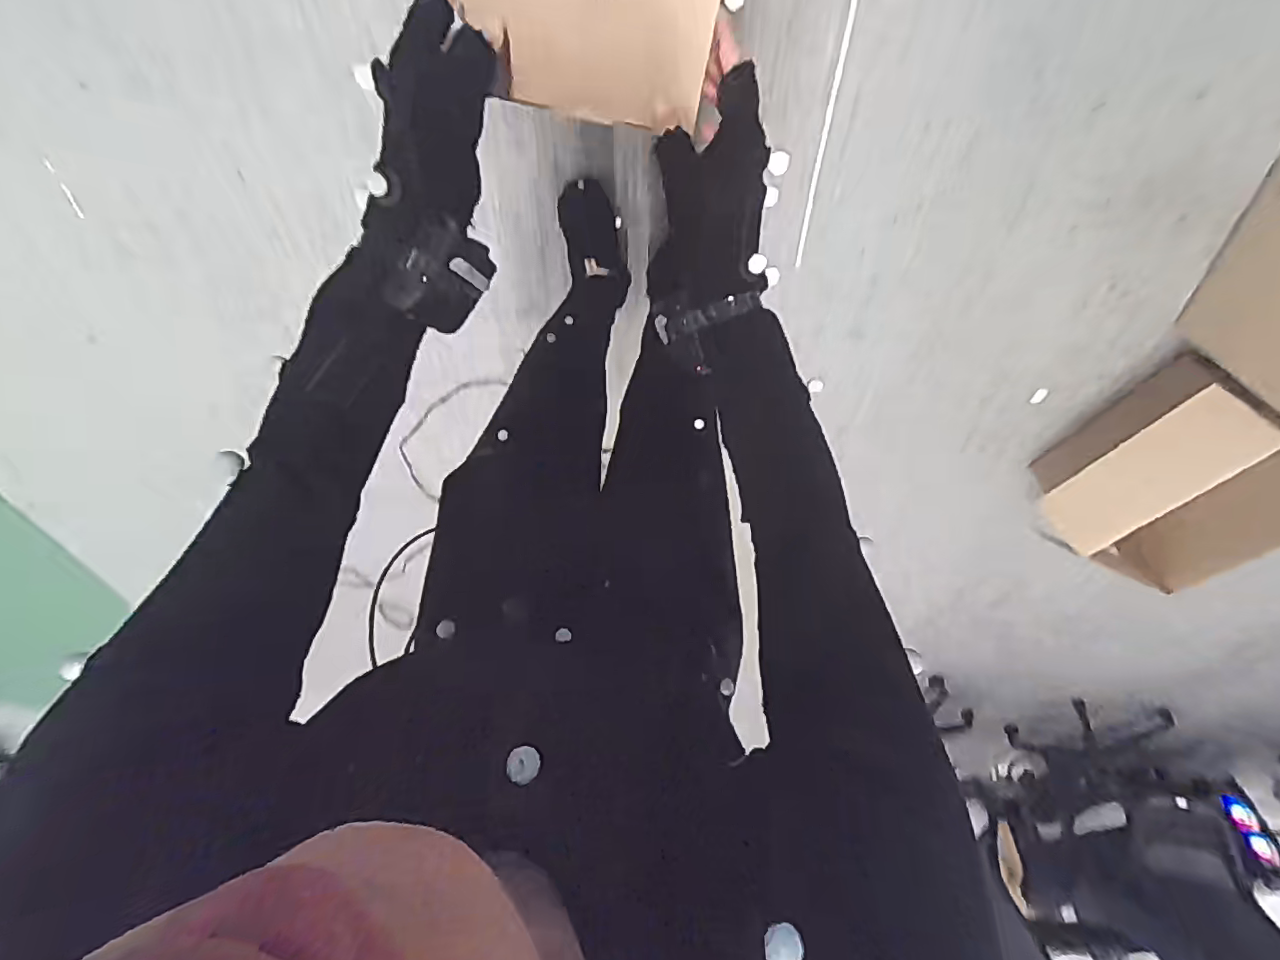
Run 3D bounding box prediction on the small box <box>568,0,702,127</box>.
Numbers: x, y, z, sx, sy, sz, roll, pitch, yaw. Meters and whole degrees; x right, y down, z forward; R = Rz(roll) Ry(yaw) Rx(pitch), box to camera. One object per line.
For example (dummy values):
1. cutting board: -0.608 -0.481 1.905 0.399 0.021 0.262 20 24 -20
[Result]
1. small box: -0.006 -0.665 0.824 0.179 0.176 0.168 8 135 -1
